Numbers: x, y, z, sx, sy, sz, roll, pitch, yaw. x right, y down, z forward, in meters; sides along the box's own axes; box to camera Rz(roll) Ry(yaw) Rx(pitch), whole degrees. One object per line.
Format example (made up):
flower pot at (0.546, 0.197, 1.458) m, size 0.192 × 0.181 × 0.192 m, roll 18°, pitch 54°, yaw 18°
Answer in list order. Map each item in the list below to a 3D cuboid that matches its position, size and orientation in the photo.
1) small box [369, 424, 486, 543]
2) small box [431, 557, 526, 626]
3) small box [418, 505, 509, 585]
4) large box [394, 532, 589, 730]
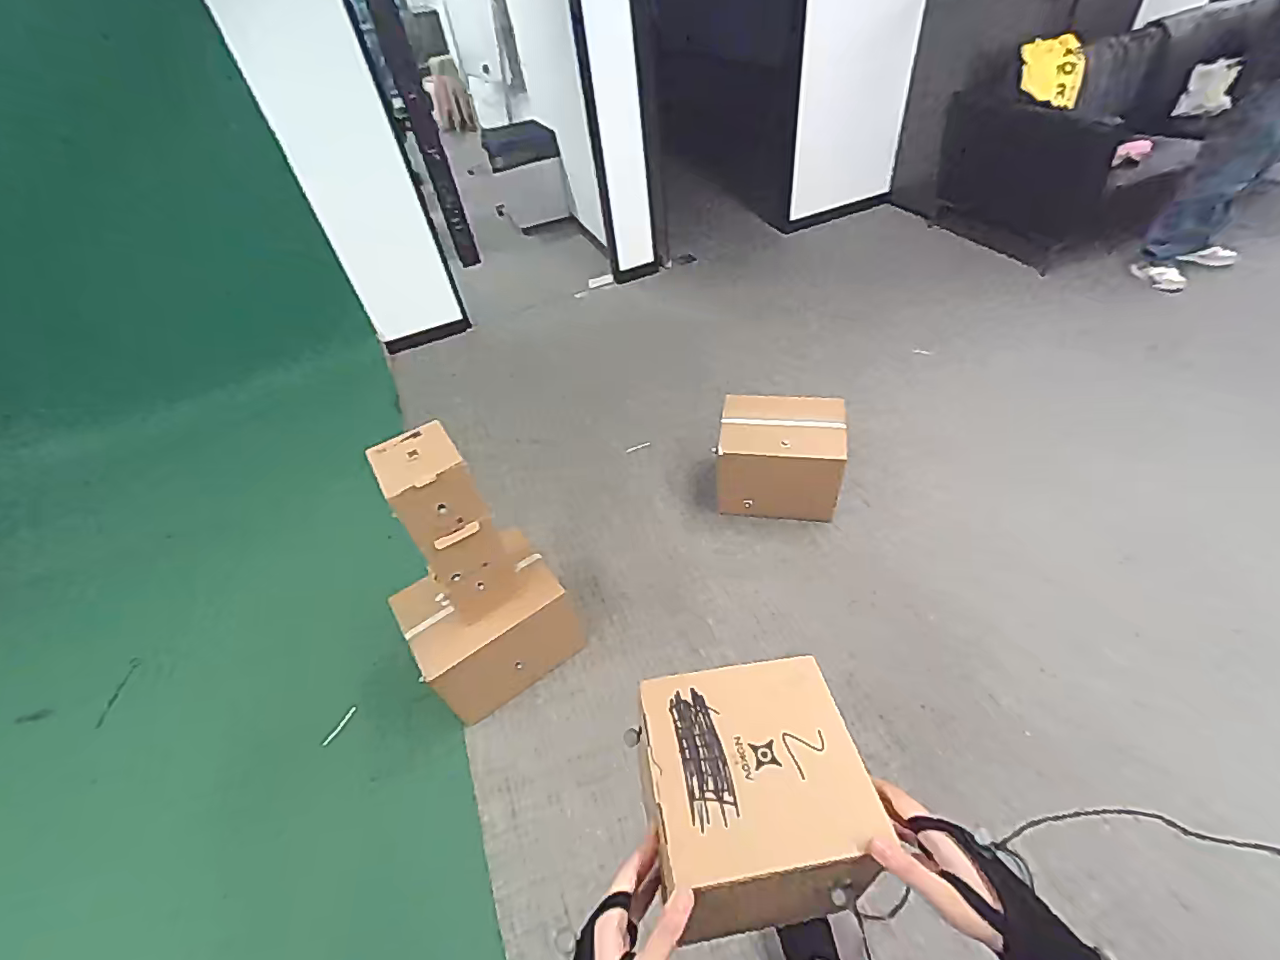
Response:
small box at (-0.461, 0.015, 1.190) m, size 0.168 × 0.176 × 0.179 m, roll -28°, pitch 50°, yaw -18°
small box at (-0.425, 0.250, 1.417) m, size 0.179 × 0.176 × 0.168 m, roll -29°, pitch 49°, yaw -18°
small box at (-0.438, 0.129, 1.307) m, size 0.168 × 0.176 × 0.179 m, roll -27°, pitch 48°, yaw -17°
large box at (-0.417, 0.434, 1.580) m, size 0.408 × 0.320 × 0.320 m, roll -32°, pitch 48°, yaw -20°
